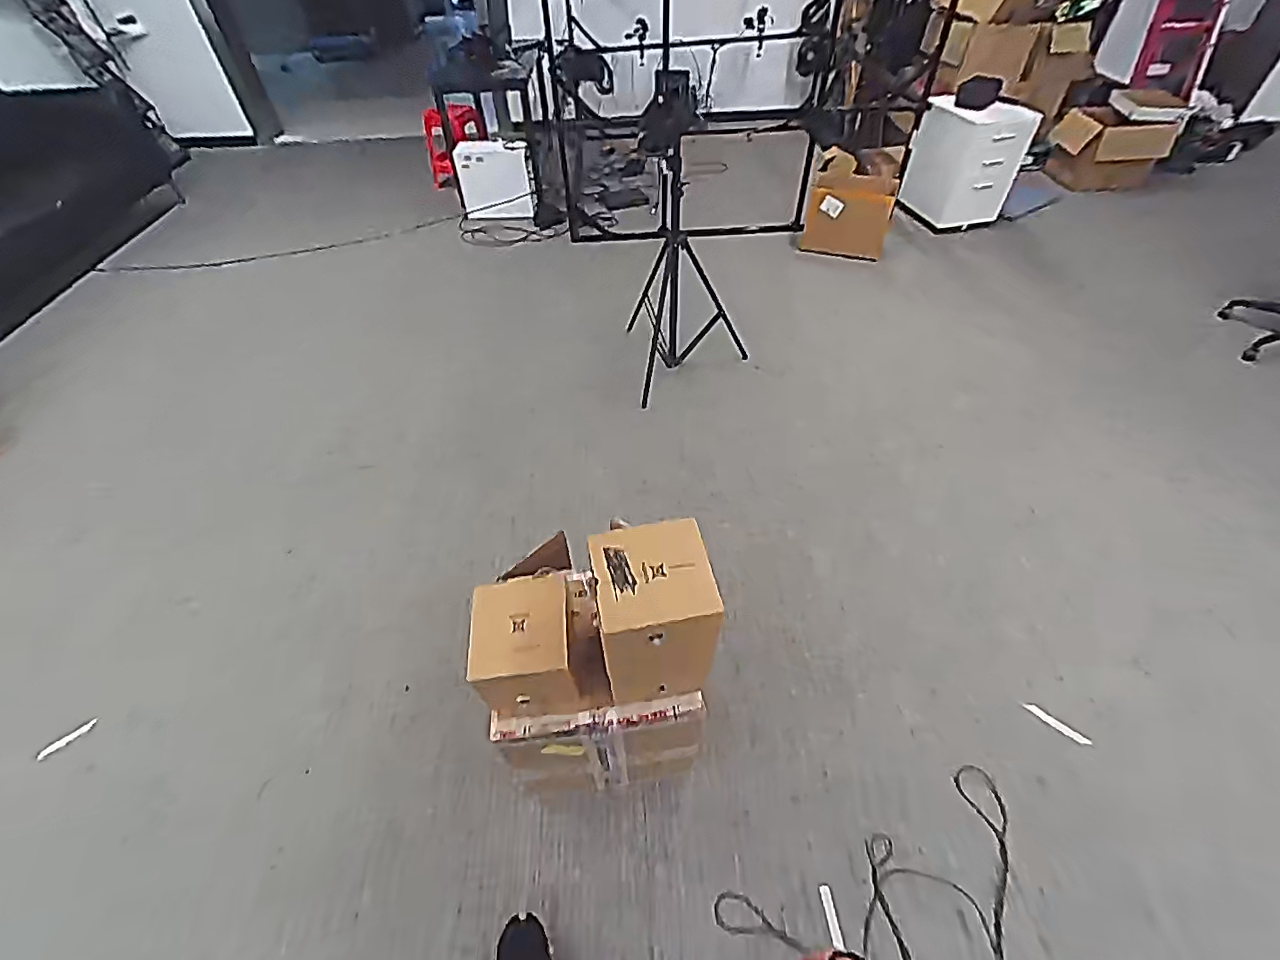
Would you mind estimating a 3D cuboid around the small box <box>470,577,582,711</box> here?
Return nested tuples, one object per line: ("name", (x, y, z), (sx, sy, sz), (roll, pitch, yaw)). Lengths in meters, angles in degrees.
("small box", (-0.202, 0.302, 0.991), (0.168, 0.176, 0.179), (-8, 52, -2))

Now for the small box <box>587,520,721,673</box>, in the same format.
("small box", (0.018, 0.190, 0.864), (0.179, 0.176, 0.168), (-9, 52, -7))

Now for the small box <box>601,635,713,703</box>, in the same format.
("small box", (0.021, 0.290, 0.995), (0.179, 0.176, 0.168), (-9, 51, -7))
